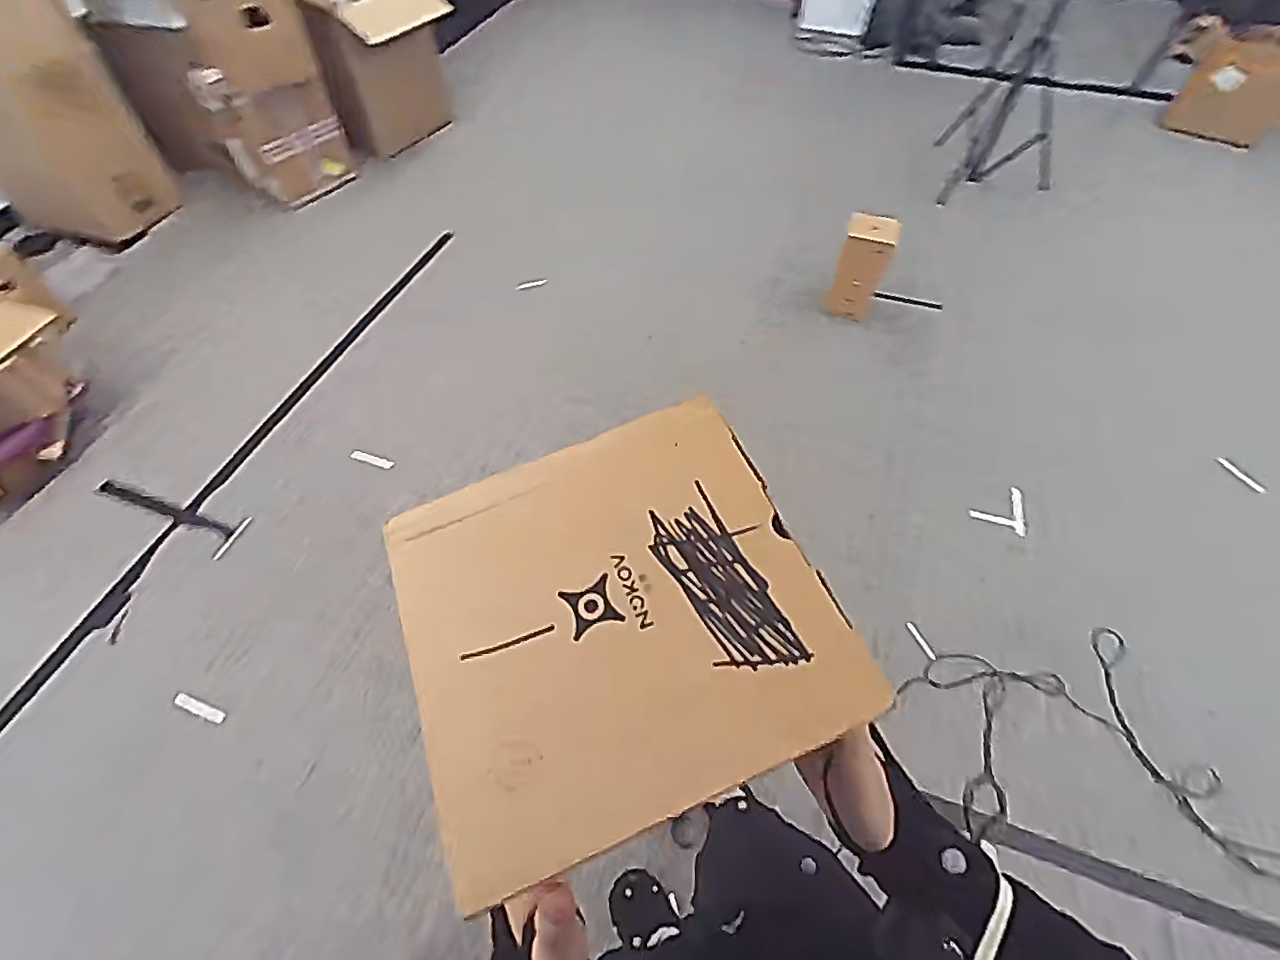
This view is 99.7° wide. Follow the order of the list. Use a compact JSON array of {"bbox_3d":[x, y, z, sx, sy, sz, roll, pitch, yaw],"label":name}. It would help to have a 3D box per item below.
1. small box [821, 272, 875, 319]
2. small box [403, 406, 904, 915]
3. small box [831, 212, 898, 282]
[{"bbox_3d":[0.837,-0.774,2.163,0.168,0.176,0.179,17,59,11],"label":"small box"},{"bbox_3d":[0.000,0.094,0.303,0.179,0.176,0.168,-22,61,-6],"label":"small box"},{"bbox_3d":[0.839,-0.868,2.026,0.179,0.176,0.168,16,57,11],"label":"small box"}]
